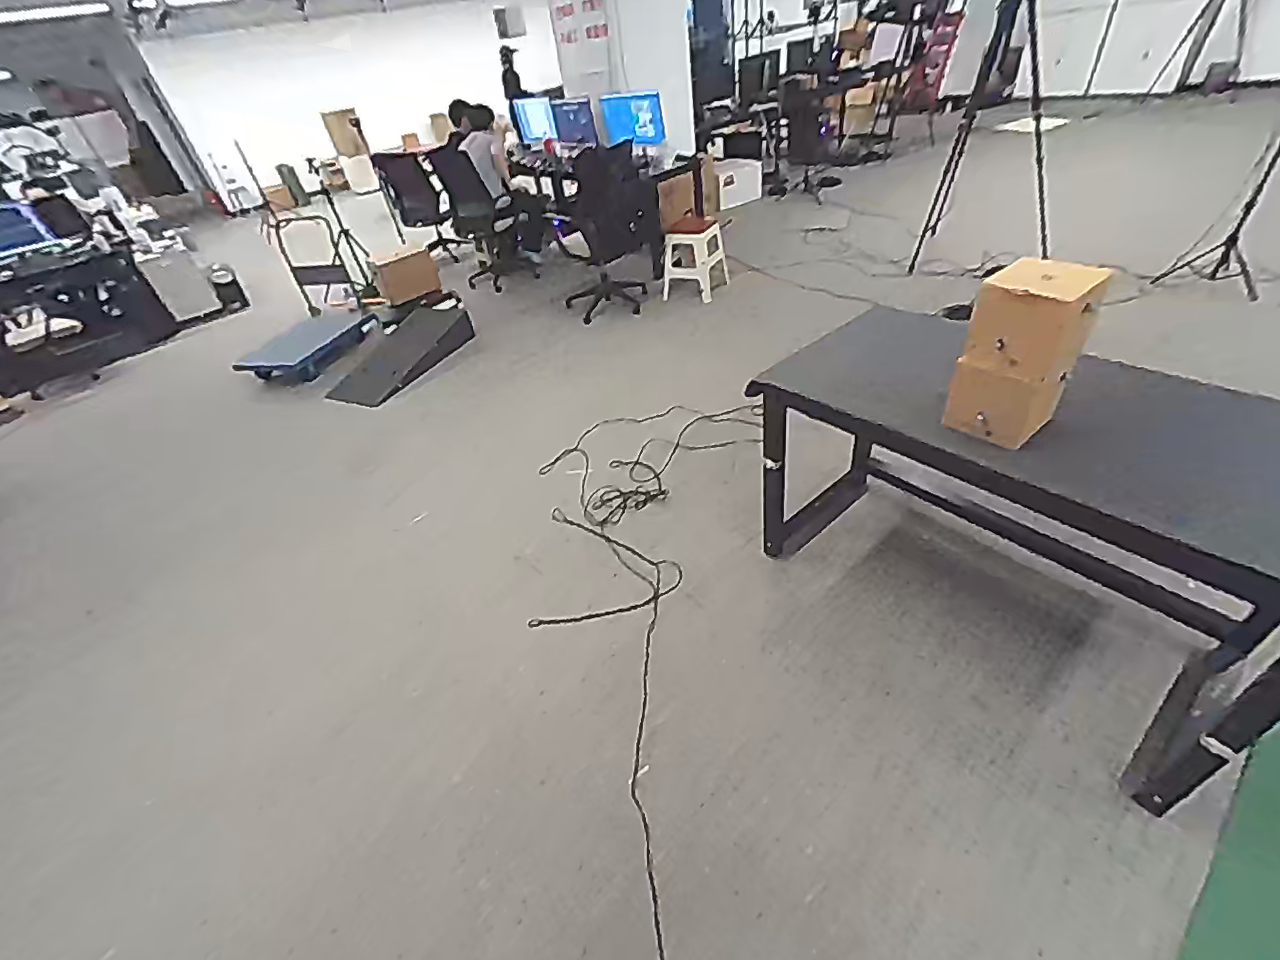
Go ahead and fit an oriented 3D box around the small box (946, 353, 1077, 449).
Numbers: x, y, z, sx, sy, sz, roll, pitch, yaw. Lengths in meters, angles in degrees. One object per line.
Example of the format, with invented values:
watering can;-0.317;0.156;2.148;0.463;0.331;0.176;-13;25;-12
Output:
small box;0.808;-0.196;1.193;0.179;0.176;0.168;-31;42;-25

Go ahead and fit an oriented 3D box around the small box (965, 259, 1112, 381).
small box;0.794;-0.325;1.095;0.179;0.176;0.168;-31;43;-24
